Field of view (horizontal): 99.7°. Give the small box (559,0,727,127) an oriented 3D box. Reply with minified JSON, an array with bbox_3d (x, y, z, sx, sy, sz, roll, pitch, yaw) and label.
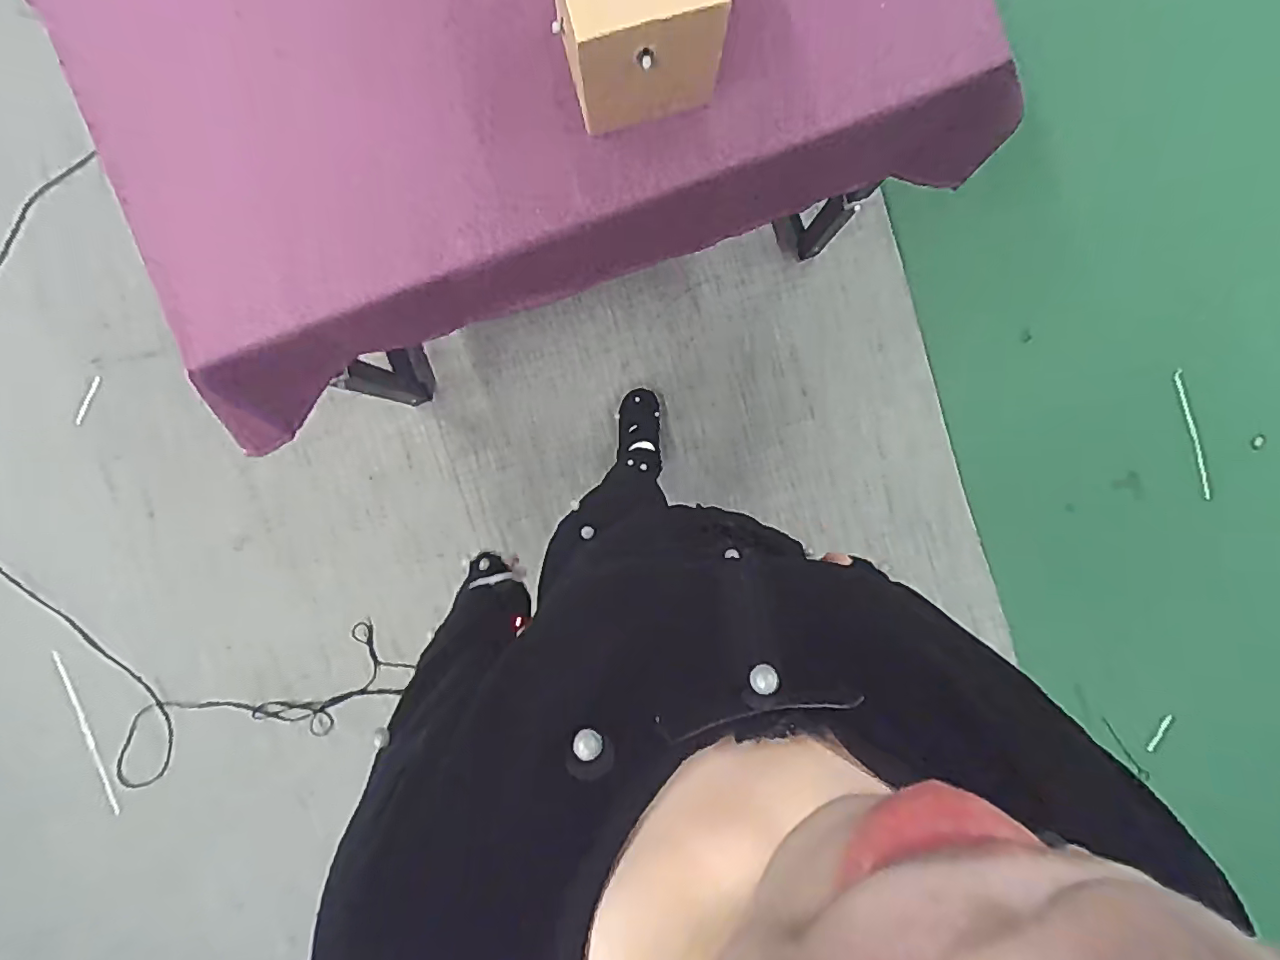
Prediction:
[{"bbox_3d":[-0.005,-0.568,0.652,0.179,0.176,0.168,-15,93,1],"label":"small box"}]
